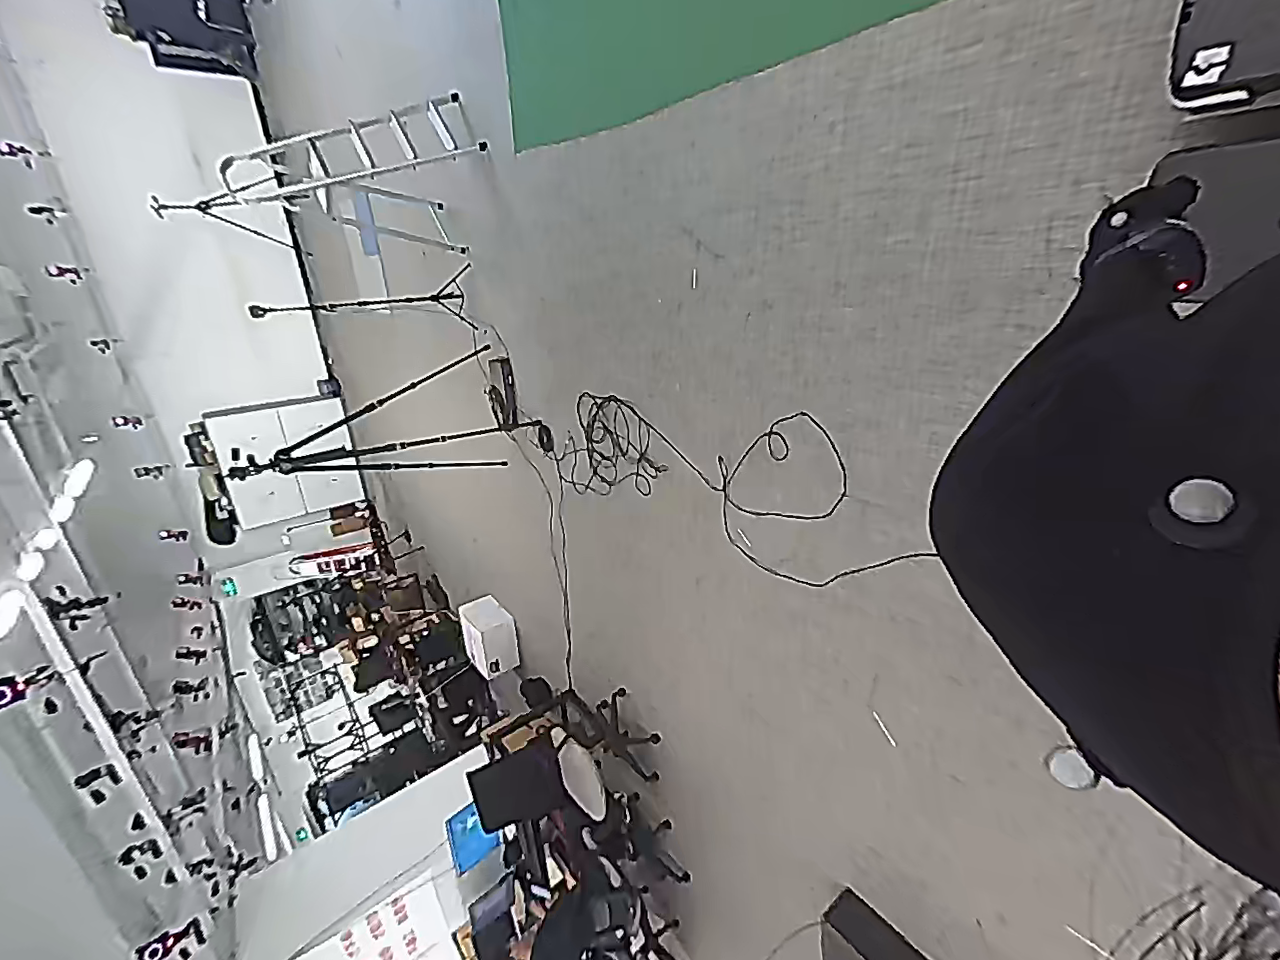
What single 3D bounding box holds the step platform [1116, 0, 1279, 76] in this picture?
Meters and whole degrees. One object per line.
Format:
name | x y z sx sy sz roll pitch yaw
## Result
step platform | 0.995 -0.705 0.590 0.684 0.204 0.286 22 124 48
